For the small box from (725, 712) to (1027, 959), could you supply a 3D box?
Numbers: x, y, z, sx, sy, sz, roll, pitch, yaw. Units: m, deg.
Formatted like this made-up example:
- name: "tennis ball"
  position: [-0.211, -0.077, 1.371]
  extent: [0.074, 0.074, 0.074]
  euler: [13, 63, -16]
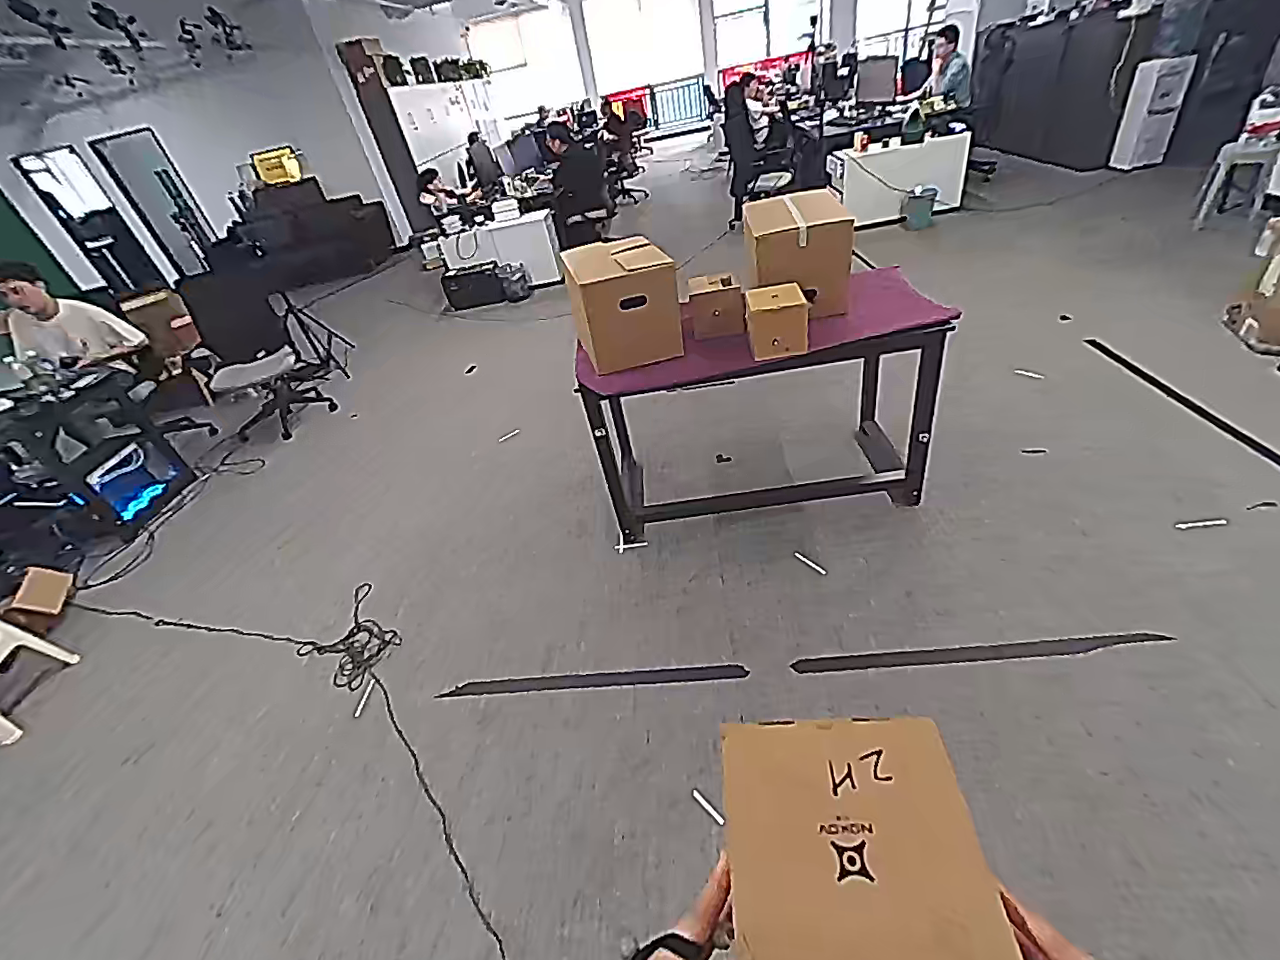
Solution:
- name: "small box"
  position: [0.157, 0.302, 0.412]
  extent: [0.168, 0.176, 0.179]
  euler: [-6, 39, 9]
